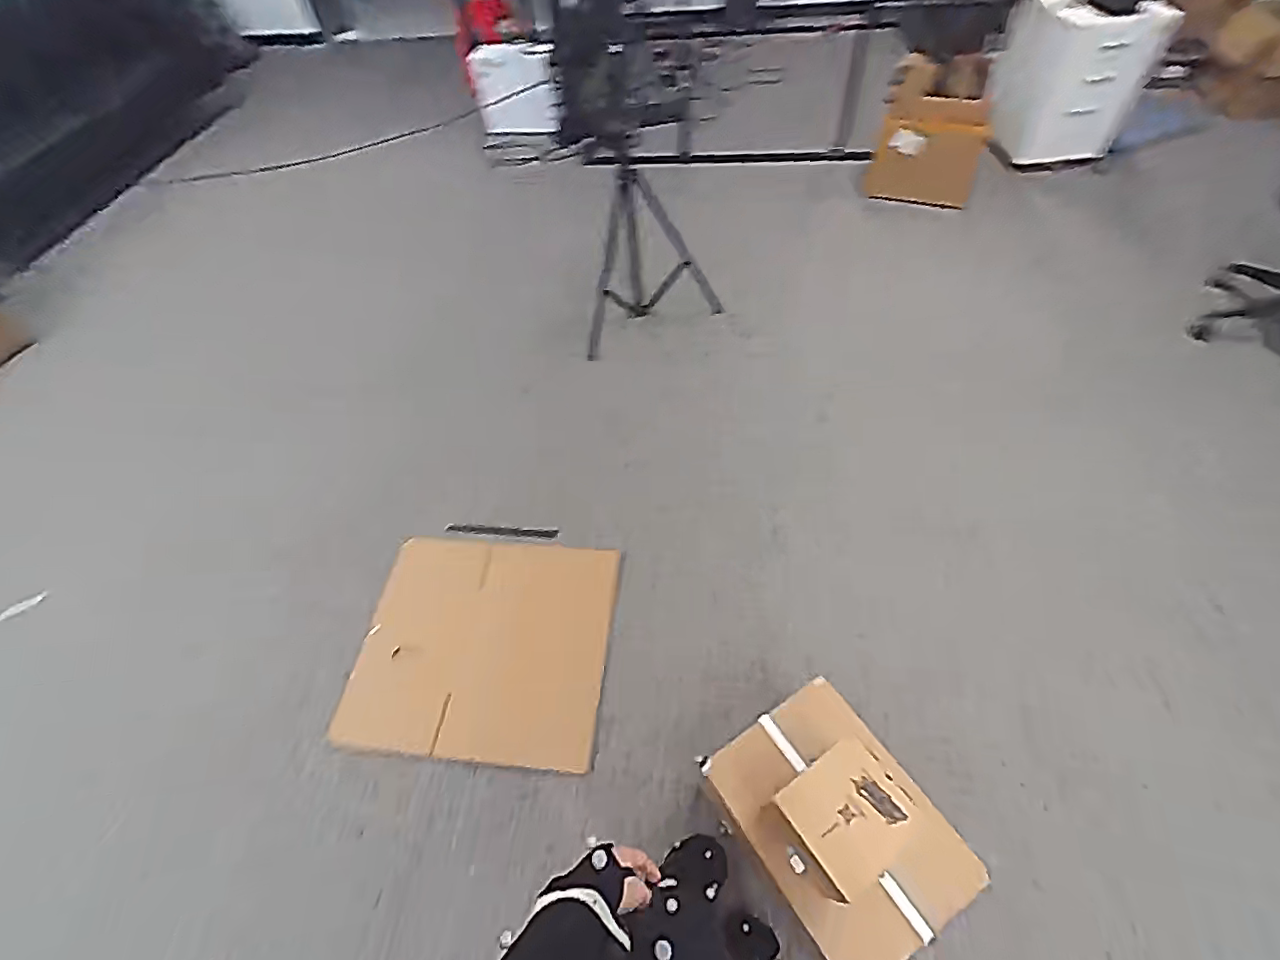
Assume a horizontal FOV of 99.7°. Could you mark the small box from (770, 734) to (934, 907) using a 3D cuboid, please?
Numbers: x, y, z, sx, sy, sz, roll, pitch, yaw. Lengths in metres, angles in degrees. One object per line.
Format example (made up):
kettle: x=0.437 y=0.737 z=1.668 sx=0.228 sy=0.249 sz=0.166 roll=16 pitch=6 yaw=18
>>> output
small box: x=0.335 y=0.558 z=0.895 sx=0.179 sy=0.176 sz=0.168 roll=-31 pitch=57 yaw=-15
